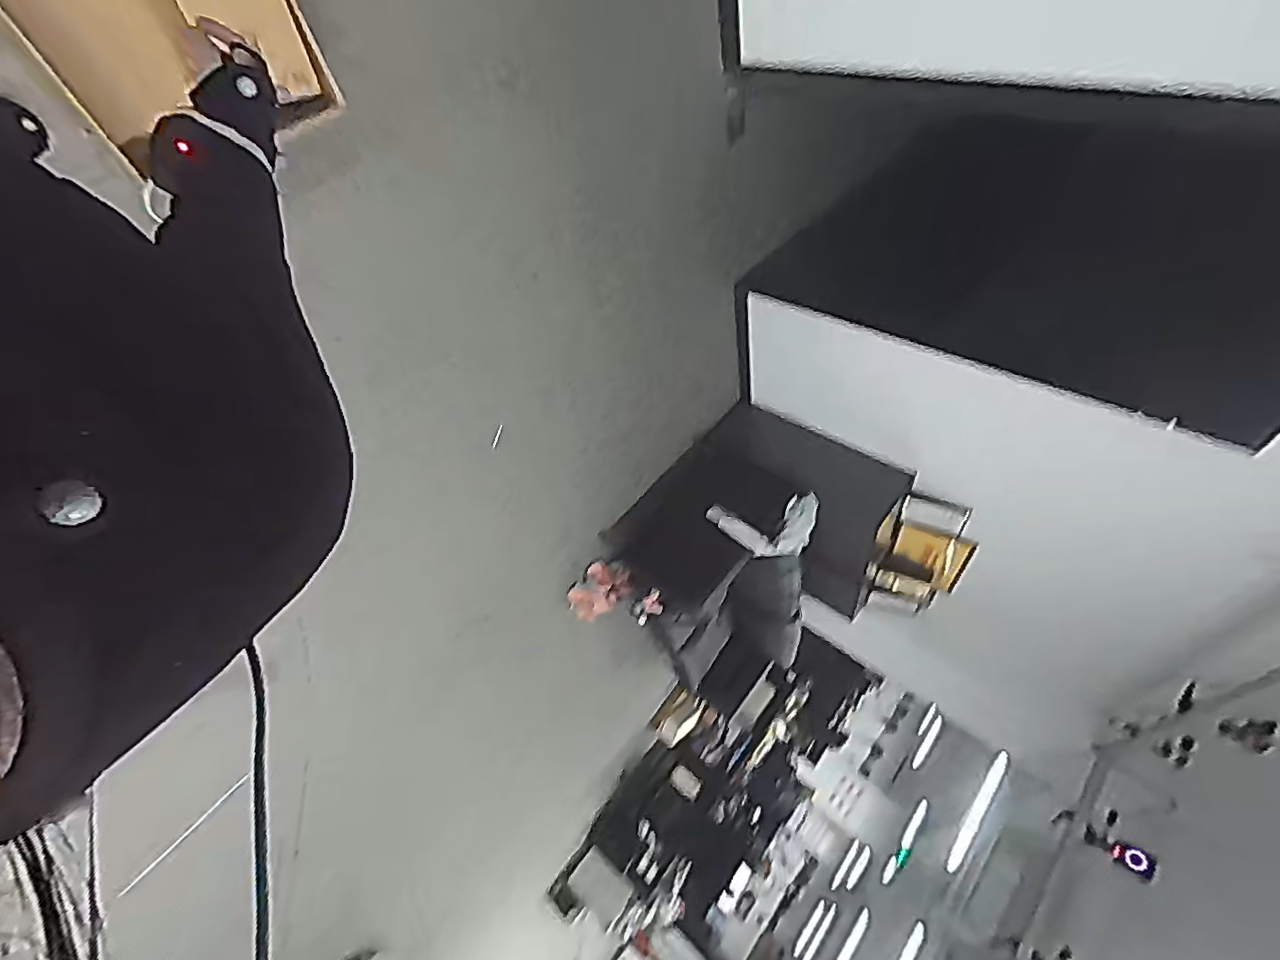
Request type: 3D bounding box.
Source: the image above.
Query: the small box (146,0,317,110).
[{"bbox_3d":[-0.727,-0.780,0.963,0.168,0.176,0.179,-37,141,-29],"label":"small box"}]
